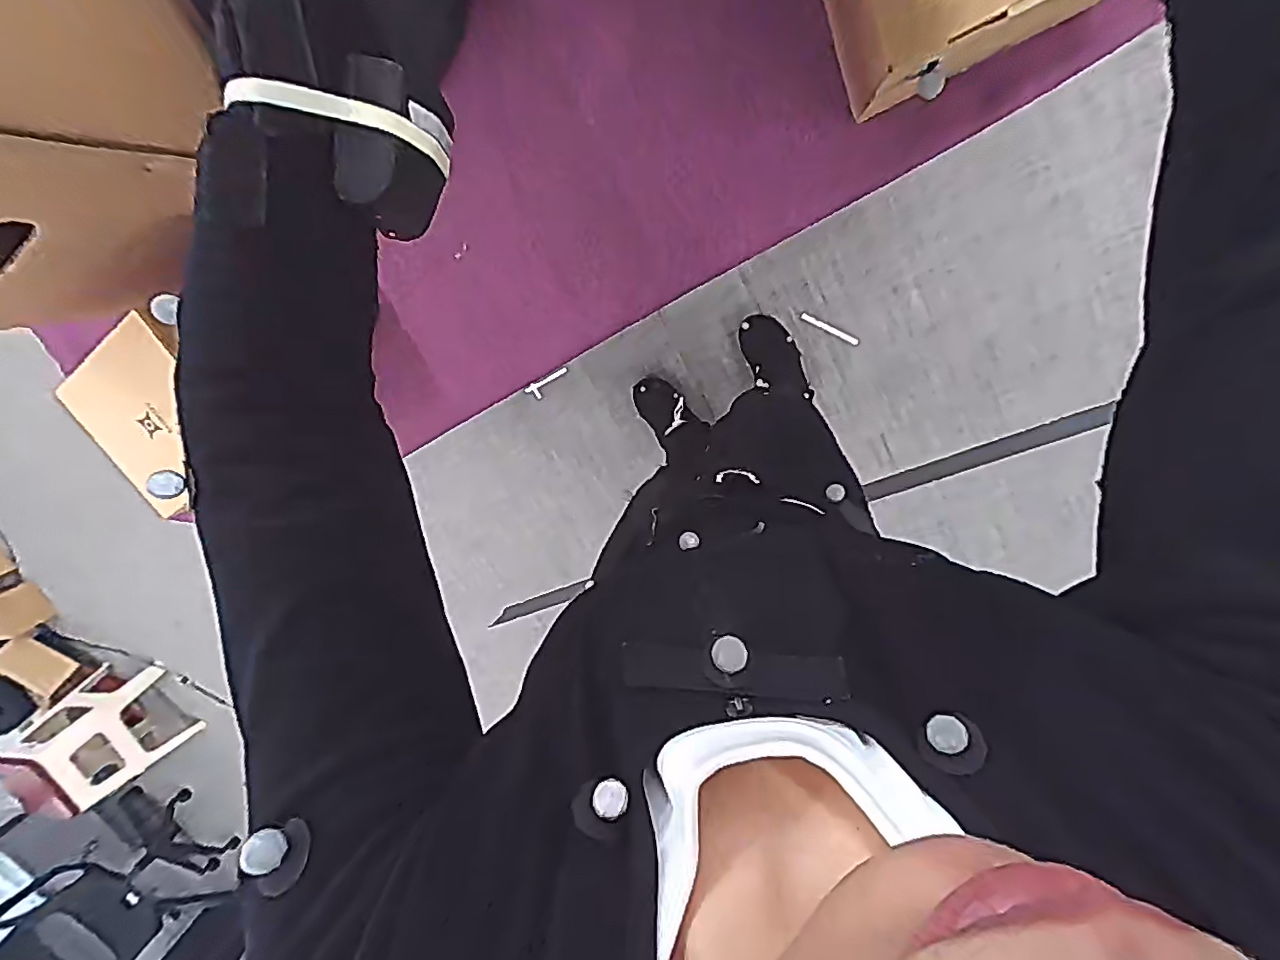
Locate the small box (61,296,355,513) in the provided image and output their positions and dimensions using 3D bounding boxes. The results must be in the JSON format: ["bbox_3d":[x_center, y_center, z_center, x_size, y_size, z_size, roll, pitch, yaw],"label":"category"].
[{"bbox_3d":[-0.478,-0.093,0.623,0.179,0.176,0.168,-26,105,22],"label":"small box"}]

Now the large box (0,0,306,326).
[{"bbox_3d":[-0.605,-0.380,0.444,0.320,0.320,0.408,-25,109,23],"label":"large box"}]
